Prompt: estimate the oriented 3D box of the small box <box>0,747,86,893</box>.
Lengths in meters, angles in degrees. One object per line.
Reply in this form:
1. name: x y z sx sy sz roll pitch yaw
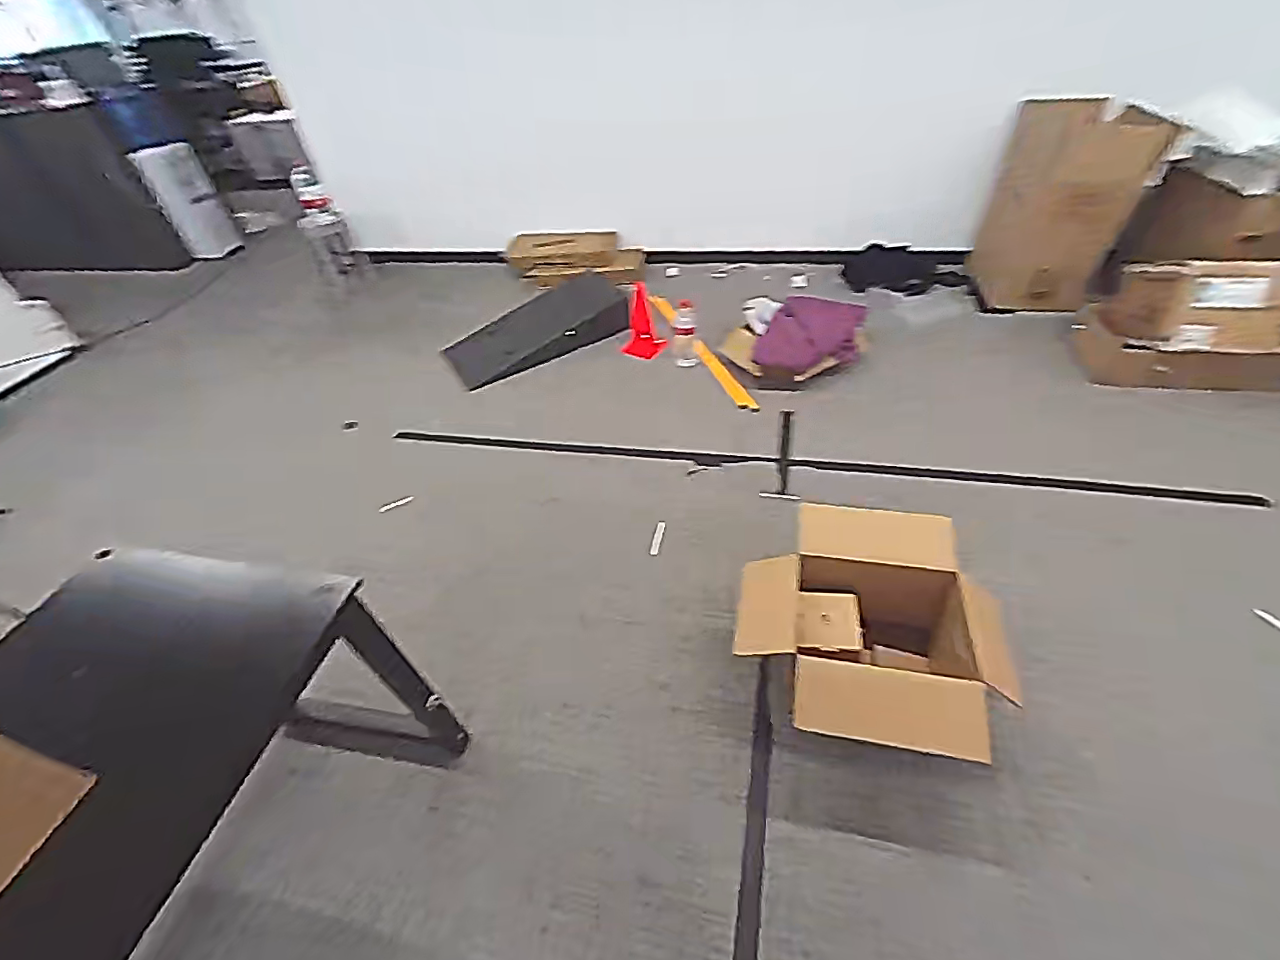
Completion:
1. small box: -0.884 0.430 0.677 0.168 0.176 0.179 5 46 13
